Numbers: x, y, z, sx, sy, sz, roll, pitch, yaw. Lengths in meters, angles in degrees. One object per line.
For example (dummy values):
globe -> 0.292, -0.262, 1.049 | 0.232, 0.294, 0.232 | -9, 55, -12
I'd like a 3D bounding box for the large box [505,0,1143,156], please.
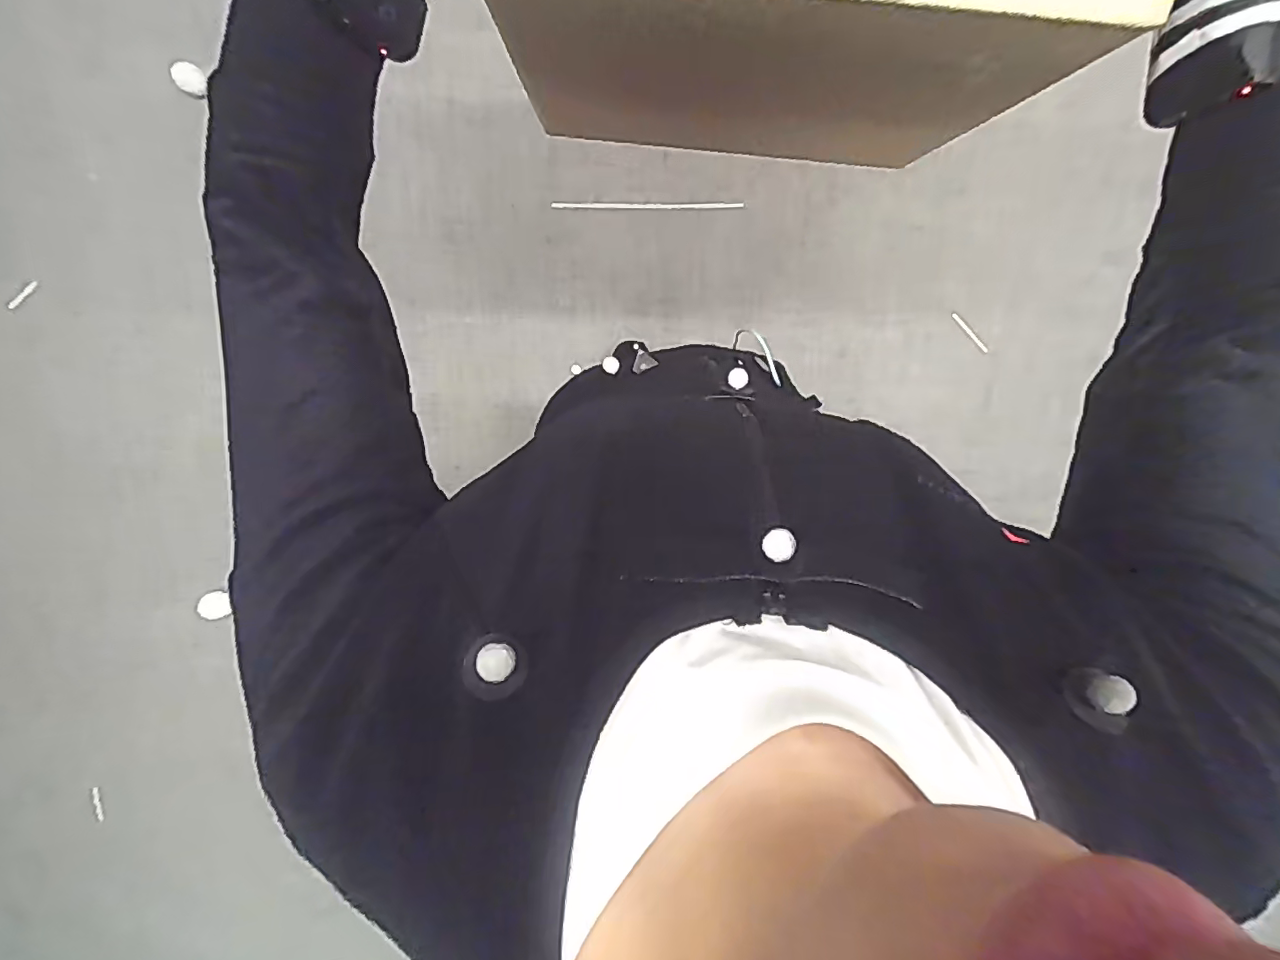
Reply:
large box -> 0.108, -0.477, 0.418 | 0.408, 0.320, 0.320 | 3, 107, -4
